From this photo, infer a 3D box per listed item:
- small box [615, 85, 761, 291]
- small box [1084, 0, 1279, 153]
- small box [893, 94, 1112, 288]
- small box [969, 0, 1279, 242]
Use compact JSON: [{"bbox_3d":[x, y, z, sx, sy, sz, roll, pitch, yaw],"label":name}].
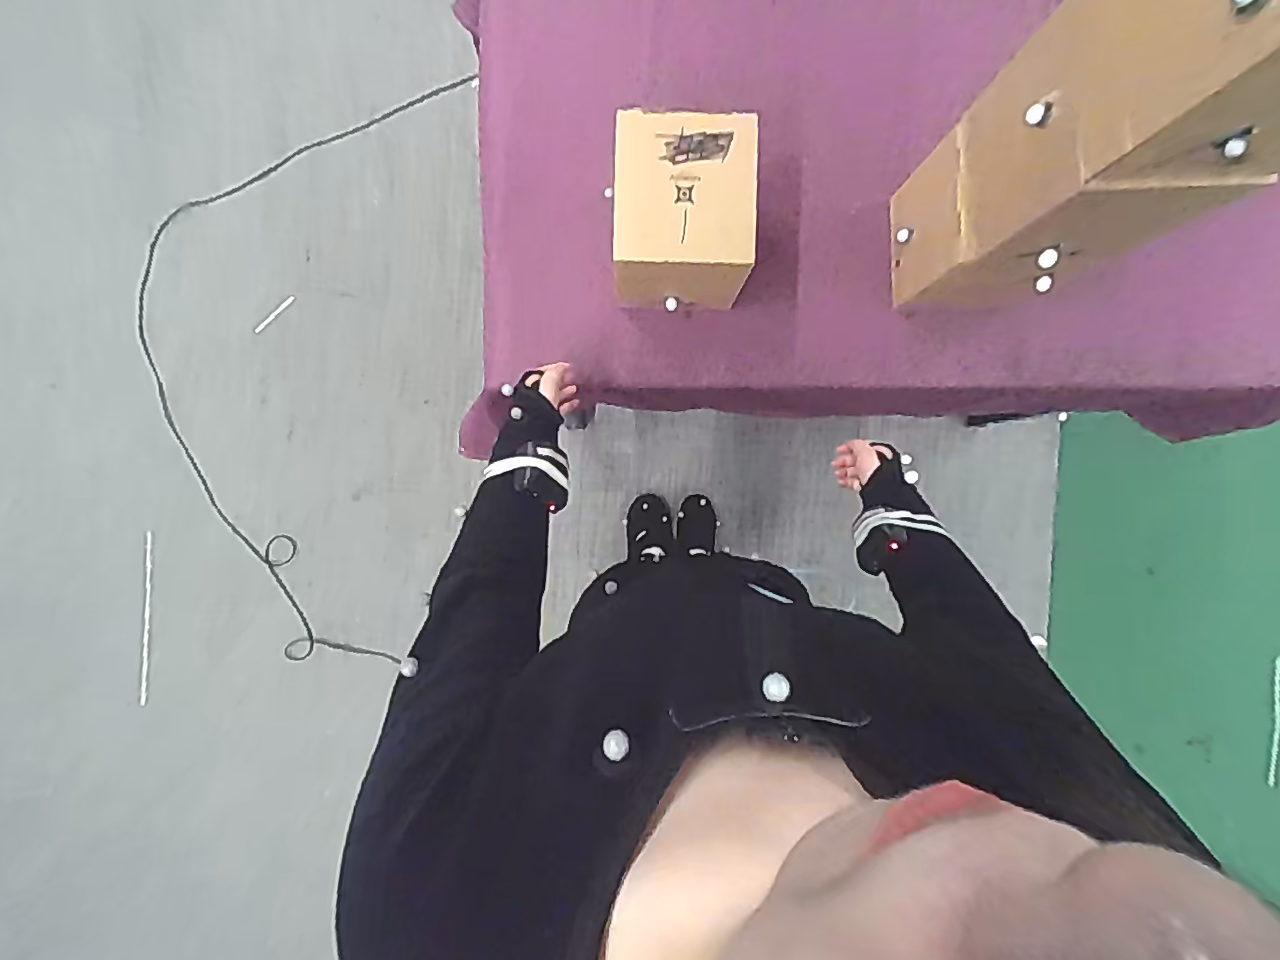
[{"bbox_3d":[0.054,-0.360,0.694,0.168,0.176,0.179,1,91,0],"label":"small box"},{"bbox_3d":[0.449,-0.361,0.369,0.168,0.176,0.179,-4,92,1],"label":"small box"},{"bbox_3d":[0.453,-0.357,0.694,0.179,0.176,0.168,-1,90,0],"label":"small box"},{"bbox_3d":[0.452,-0.357,0.531,0.168,0.176,0.179,-2,91,1],"label":"small box"}]
